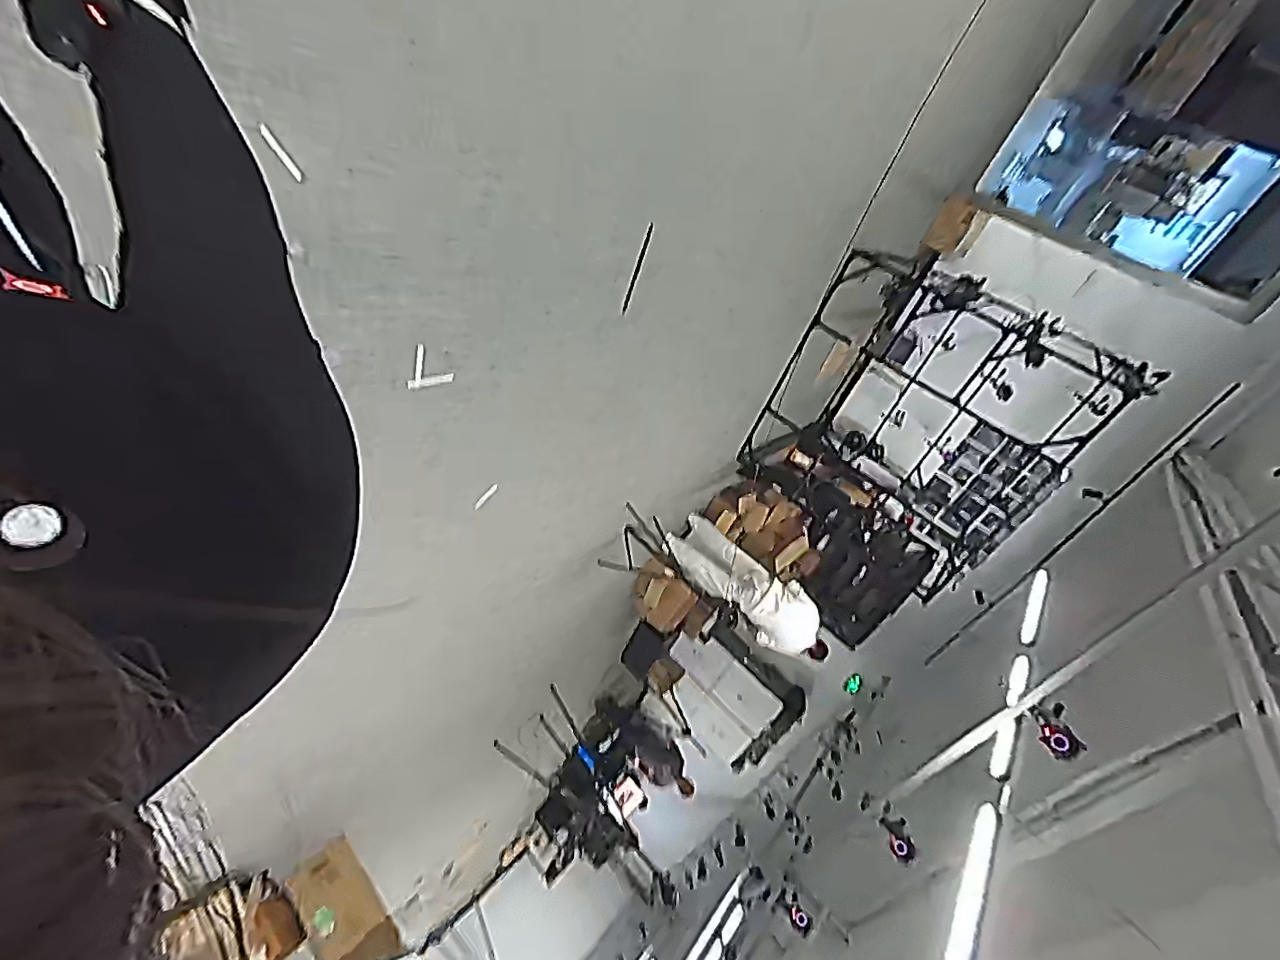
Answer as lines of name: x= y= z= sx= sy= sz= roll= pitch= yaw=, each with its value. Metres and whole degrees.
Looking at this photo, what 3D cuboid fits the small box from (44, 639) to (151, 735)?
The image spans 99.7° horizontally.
small box: x=-1.573 y=0.591 z=1.570 sx=0.168 sy=0.176 sz=0.179 roll=-26 pitch=148 yaw=-44
